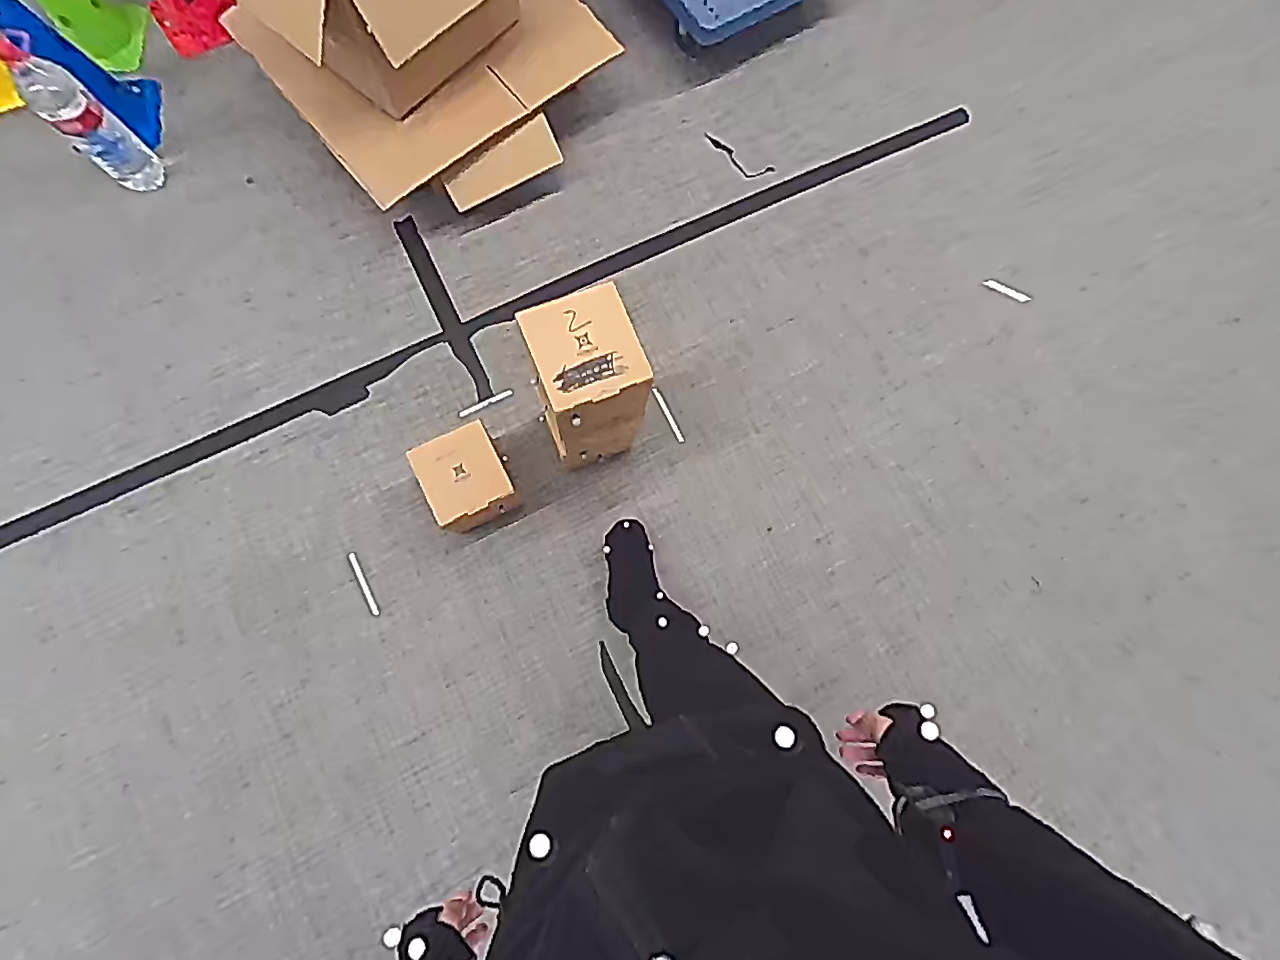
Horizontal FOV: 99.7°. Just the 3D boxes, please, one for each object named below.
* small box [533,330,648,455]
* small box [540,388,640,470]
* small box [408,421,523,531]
[{"bbox_3d":[-0.096,-0.161,1.066,0.168,0.176,0.179,-23,82,-9],"label":"small box"},{"bbox_3d":[-0.116,-0.136,1.228,0.179,0.176,0.168,-21,83,-9],"label":"small box"},{"bbox_3d":[-0.369,0.001,1.181,0.168,0.176,0.179,-27,82,-10],"label":"small box"}]
